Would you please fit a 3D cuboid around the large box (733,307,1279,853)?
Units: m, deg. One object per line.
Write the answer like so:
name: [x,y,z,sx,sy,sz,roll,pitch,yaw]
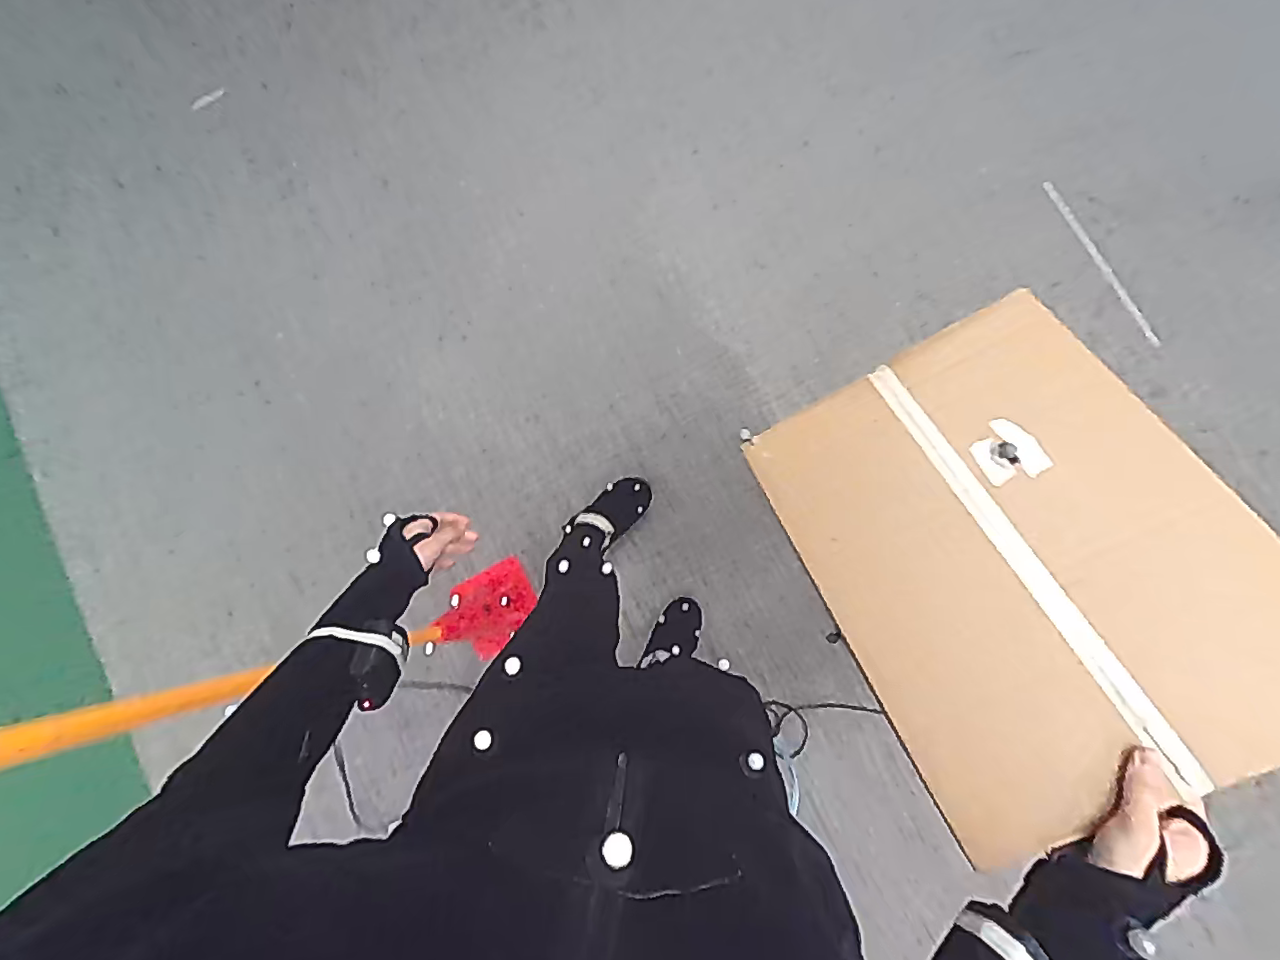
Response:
large box: [0.358,0.106,0.608,0.320,0.320,0.408,-28,63,11]
